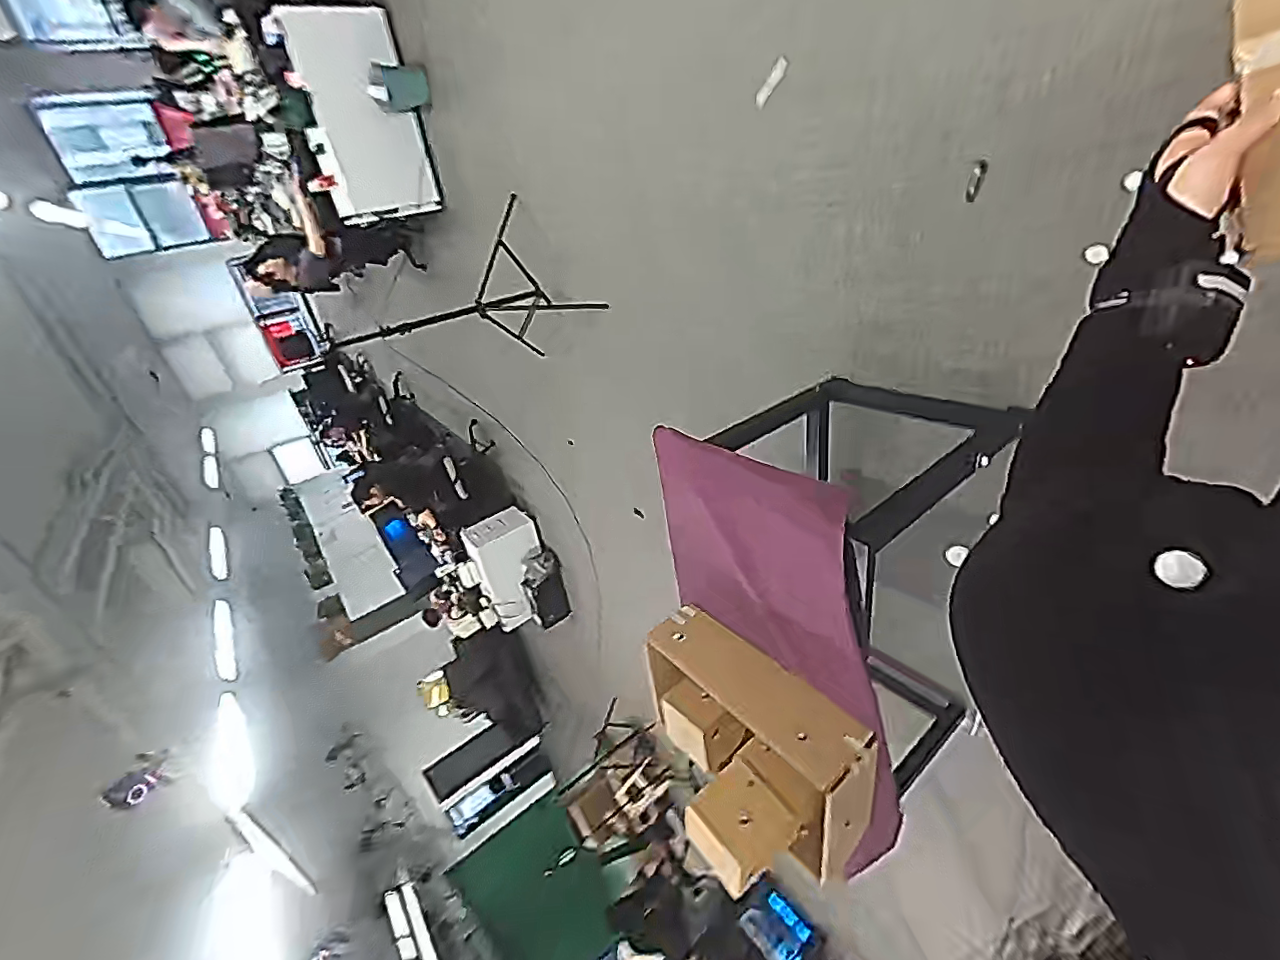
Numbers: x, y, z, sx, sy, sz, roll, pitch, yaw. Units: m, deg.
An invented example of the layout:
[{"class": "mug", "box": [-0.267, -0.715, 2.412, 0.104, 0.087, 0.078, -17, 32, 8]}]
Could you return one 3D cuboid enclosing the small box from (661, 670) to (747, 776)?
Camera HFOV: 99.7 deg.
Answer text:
[{"class": "small box", "box": [0.183, 0.673, 1.521, 0.168, 0.176, 0.179, 23, 132, 49]}]
